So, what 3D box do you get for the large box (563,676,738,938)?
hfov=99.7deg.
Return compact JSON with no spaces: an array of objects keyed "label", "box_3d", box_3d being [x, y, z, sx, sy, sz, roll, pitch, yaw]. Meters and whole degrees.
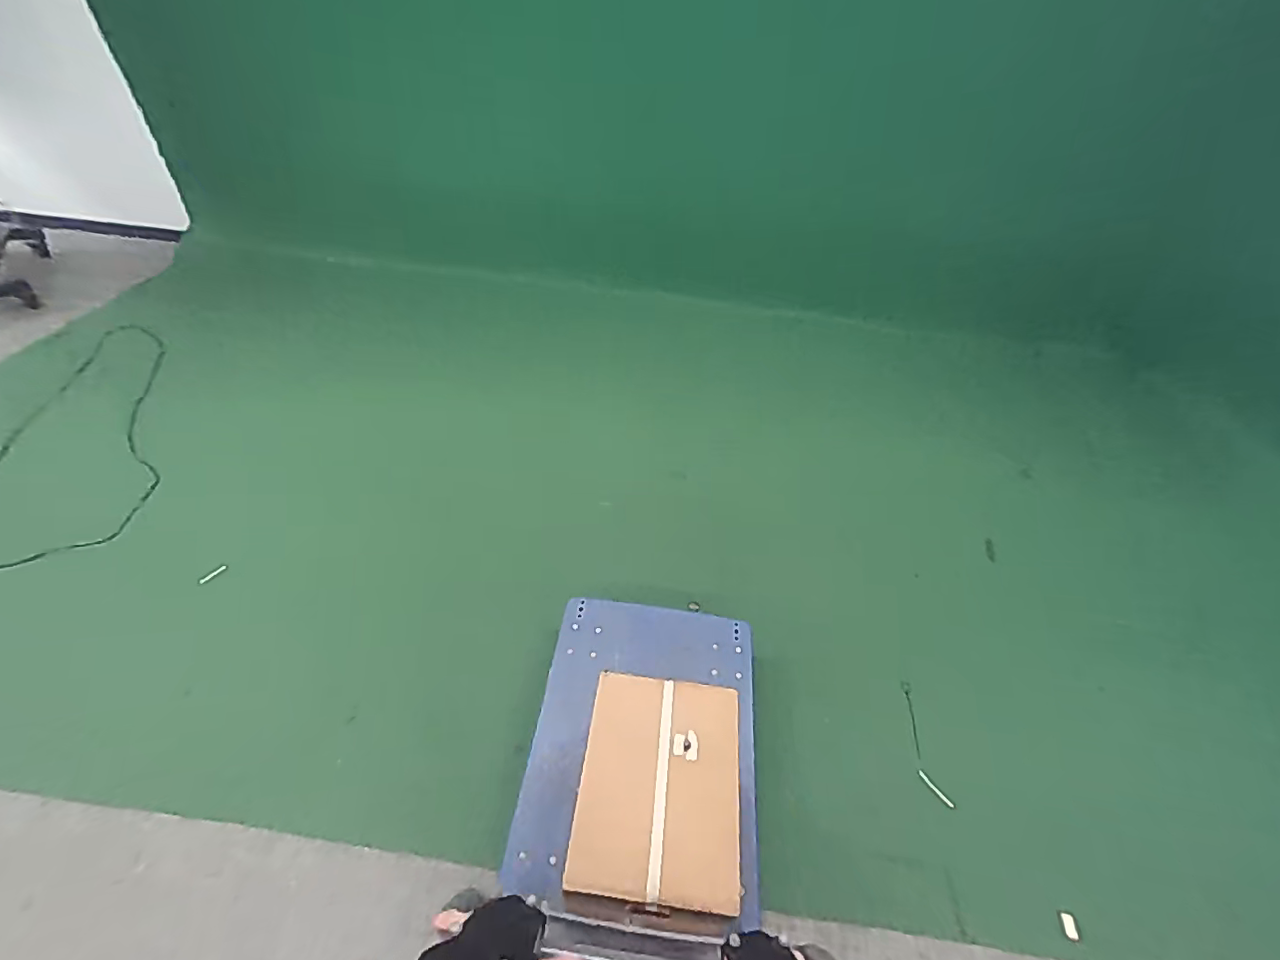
[{"label":"large box","box_3d":[0.025,0.703,1.176,0.320,0.320,0.408,8,43,1]}]
